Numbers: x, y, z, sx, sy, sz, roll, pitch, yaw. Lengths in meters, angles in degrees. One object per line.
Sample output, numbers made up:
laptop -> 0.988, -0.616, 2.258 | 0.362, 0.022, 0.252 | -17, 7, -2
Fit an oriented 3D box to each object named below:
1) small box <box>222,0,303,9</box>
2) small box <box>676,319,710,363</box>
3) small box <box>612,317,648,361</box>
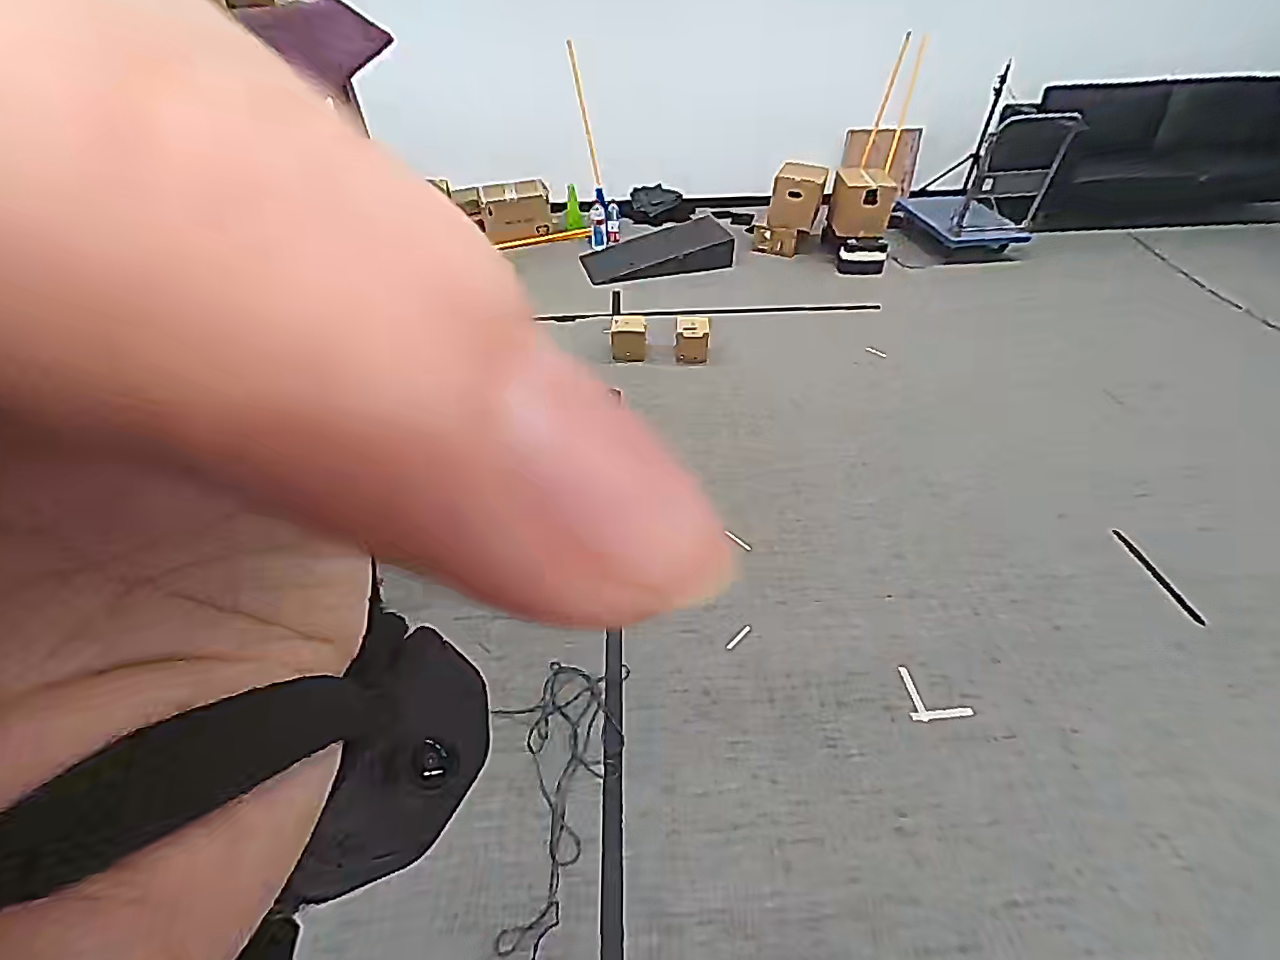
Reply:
small box -> -0.852, -1.098, 1.127 | 0.179, 0.176, 0.168 | -6, 45, -4
small box -> 0.280, -0.731, 2.848 | 0.168, 0.176, 0.179 | 3, 43, 3
small box -> -0.052, -0.743, 2.862 | 0.179, 0.176, 0.168 | 3, 44, 2
